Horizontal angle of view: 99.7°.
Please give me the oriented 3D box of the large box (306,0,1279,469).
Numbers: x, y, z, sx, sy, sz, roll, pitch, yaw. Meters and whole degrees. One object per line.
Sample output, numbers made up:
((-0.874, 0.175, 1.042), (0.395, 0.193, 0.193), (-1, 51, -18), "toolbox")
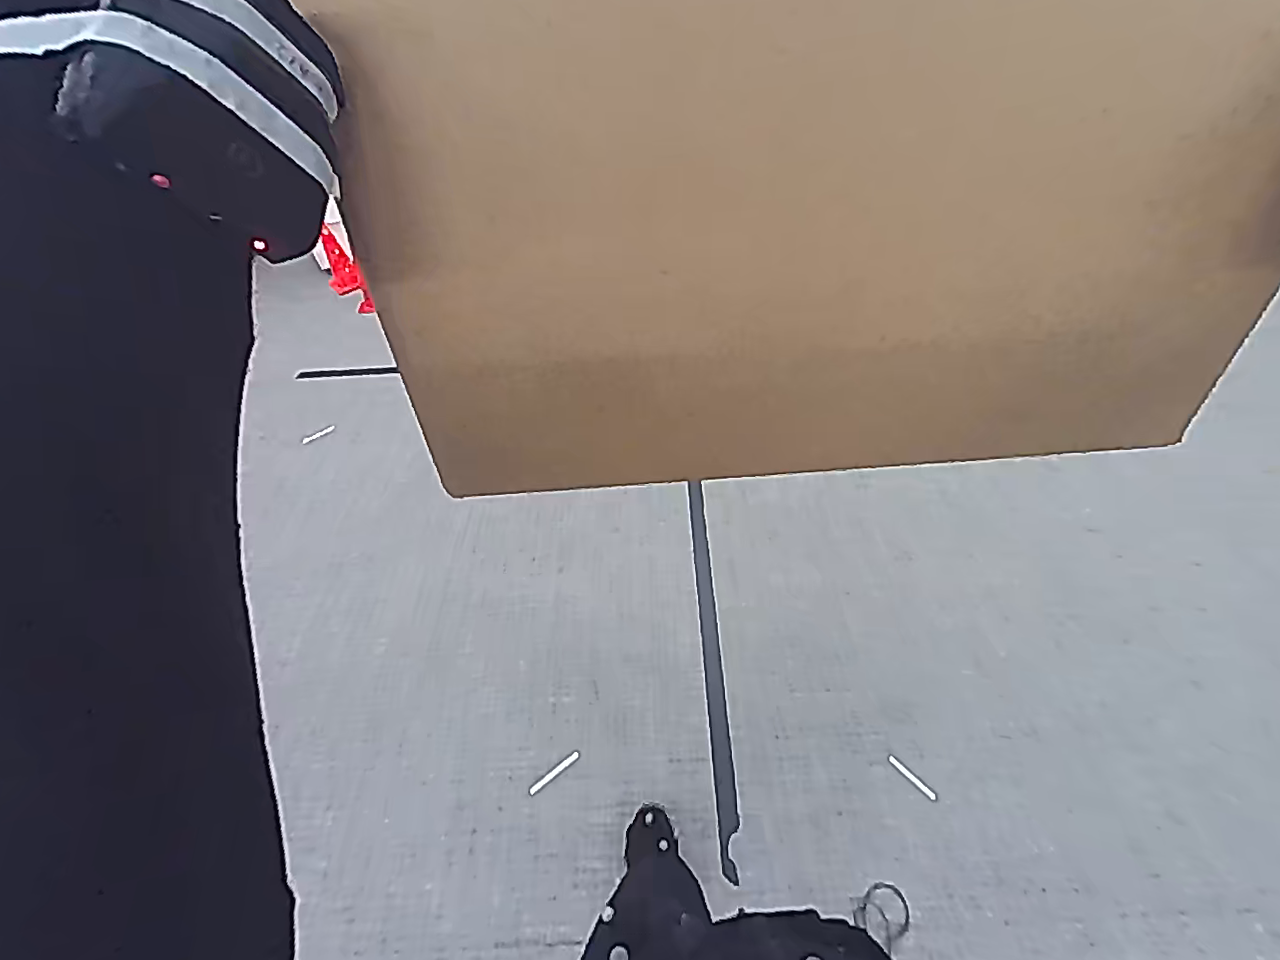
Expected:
((0.075, -0.226, 0.333), (0.408, 0.320, 0.320), (-4, 38, 0), "large box")
